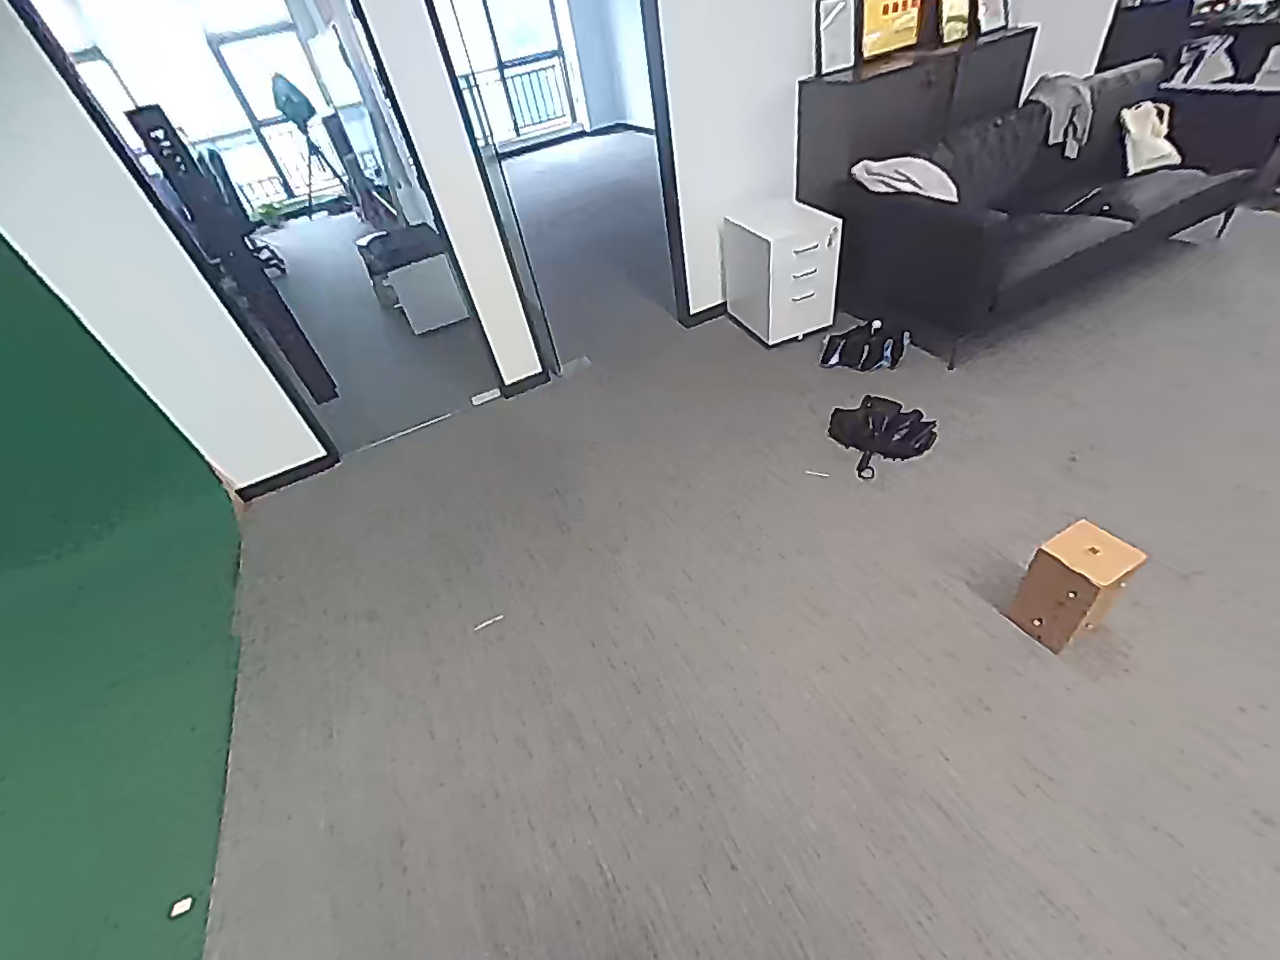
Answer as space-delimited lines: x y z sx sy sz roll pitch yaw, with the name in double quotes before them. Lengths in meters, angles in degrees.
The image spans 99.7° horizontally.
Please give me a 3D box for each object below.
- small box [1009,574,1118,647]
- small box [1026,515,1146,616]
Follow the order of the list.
"small box" 1.207 0.347 1.559 0.179 0.176 0.168 -27 45 -14
"small box" 1.178 0.232 1.448 0.179 0.176 0.168 -26 45 -15
